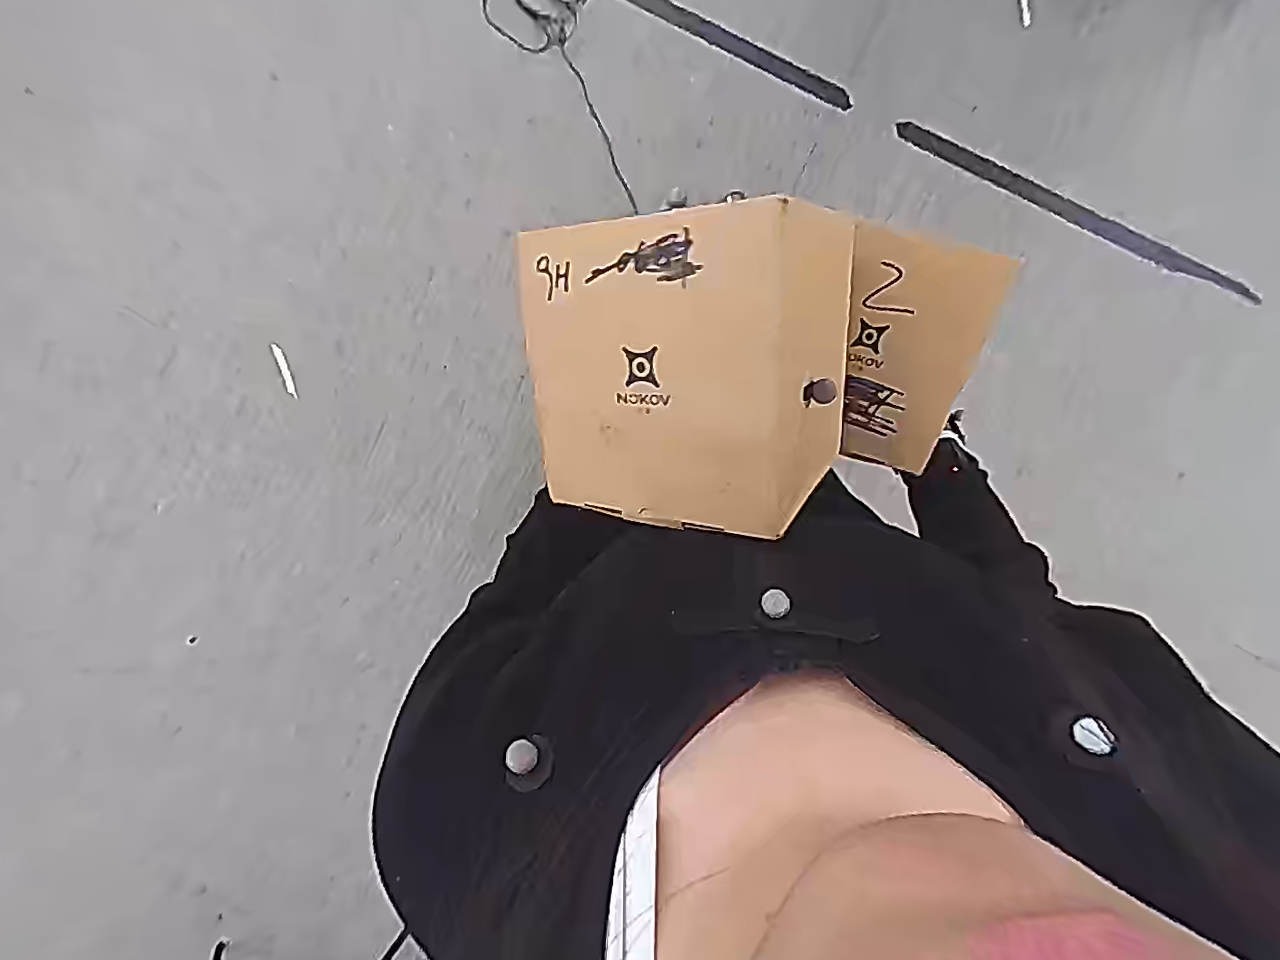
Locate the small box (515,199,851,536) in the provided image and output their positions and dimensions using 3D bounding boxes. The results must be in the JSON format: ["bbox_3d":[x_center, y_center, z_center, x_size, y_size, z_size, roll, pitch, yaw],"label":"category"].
[{"bbox_3d":[0.043,-0.085,0.375,0.168,0.176,0.179,7,114,30],"label":"small box"}]
